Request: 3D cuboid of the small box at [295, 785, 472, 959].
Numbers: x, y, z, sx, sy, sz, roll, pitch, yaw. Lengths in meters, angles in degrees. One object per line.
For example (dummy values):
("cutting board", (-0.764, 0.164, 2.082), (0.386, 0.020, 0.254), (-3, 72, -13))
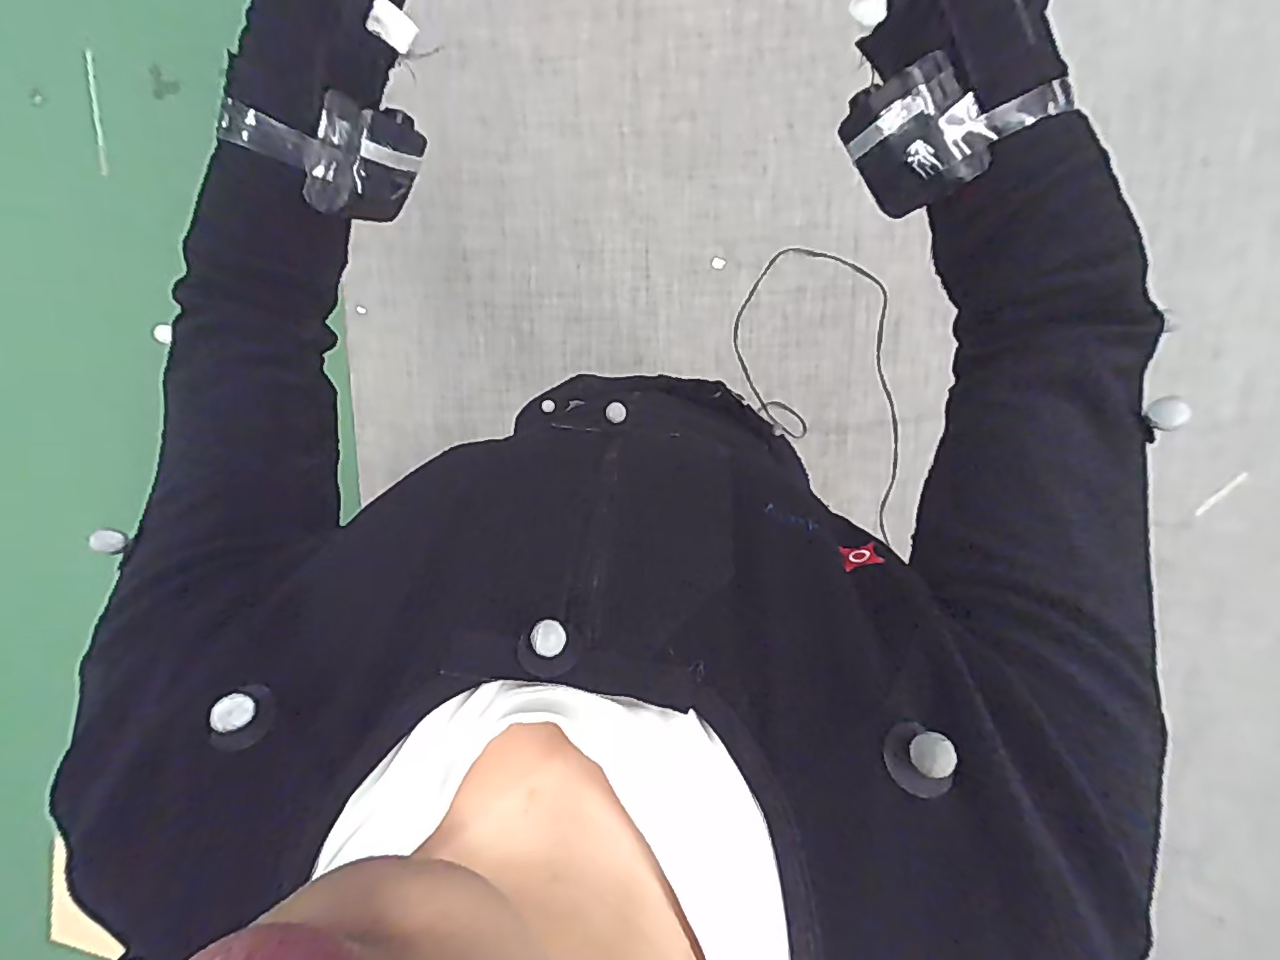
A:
("small box", (-0.357, 0.579, 0.785), (0.168, 0.176, 0.179), (1, 102, 6))
